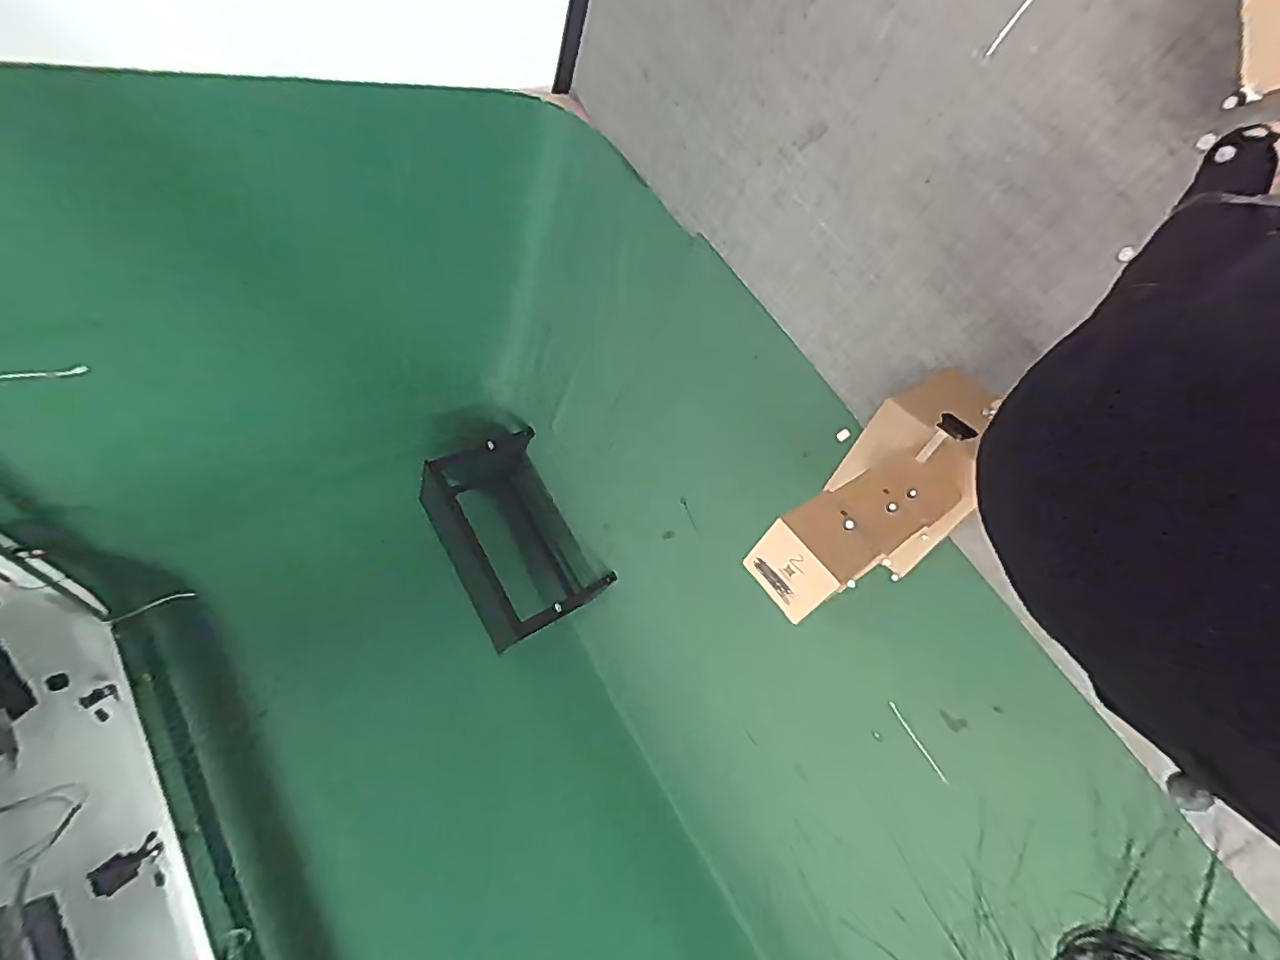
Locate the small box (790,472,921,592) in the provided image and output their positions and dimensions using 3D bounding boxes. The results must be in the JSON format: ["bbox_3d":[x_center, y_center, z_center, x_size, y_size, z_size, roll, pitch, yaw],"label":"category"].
[{"bbox_3d":[0.475,0.112,1.192,0.168,0.176,0.179,51,143,21],"label":"small box"}]

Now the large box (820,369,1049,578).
[{"bbox_3d":[0.766,-0.021,1.448,0.320,0.320,0.408,48,144,27],"label":"large box"}]

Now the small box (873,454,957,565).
[{"bbox_3d":[0.602,0.065,1.281,0.179,0.176,0.168,51,143,22],"label":"small box"}]
